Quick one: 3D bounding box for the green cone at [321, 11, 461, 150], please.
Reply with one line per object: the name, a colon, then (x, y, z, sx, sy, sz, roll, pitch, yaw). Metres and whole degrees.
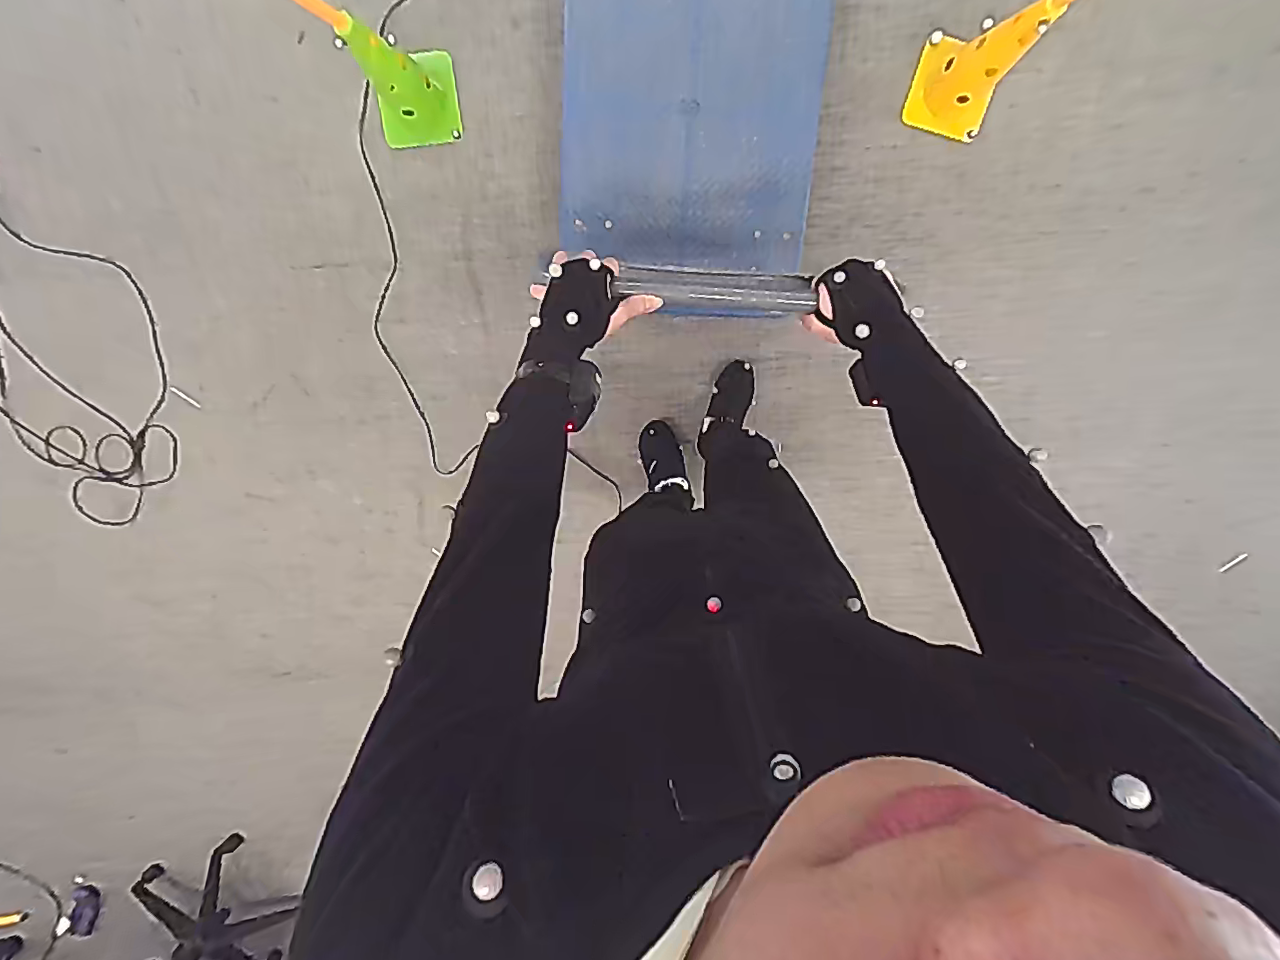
green cone: (-0.563, -0.900, 1.177, 0.202, 0.368, 0.200, -5, 104, 4)
